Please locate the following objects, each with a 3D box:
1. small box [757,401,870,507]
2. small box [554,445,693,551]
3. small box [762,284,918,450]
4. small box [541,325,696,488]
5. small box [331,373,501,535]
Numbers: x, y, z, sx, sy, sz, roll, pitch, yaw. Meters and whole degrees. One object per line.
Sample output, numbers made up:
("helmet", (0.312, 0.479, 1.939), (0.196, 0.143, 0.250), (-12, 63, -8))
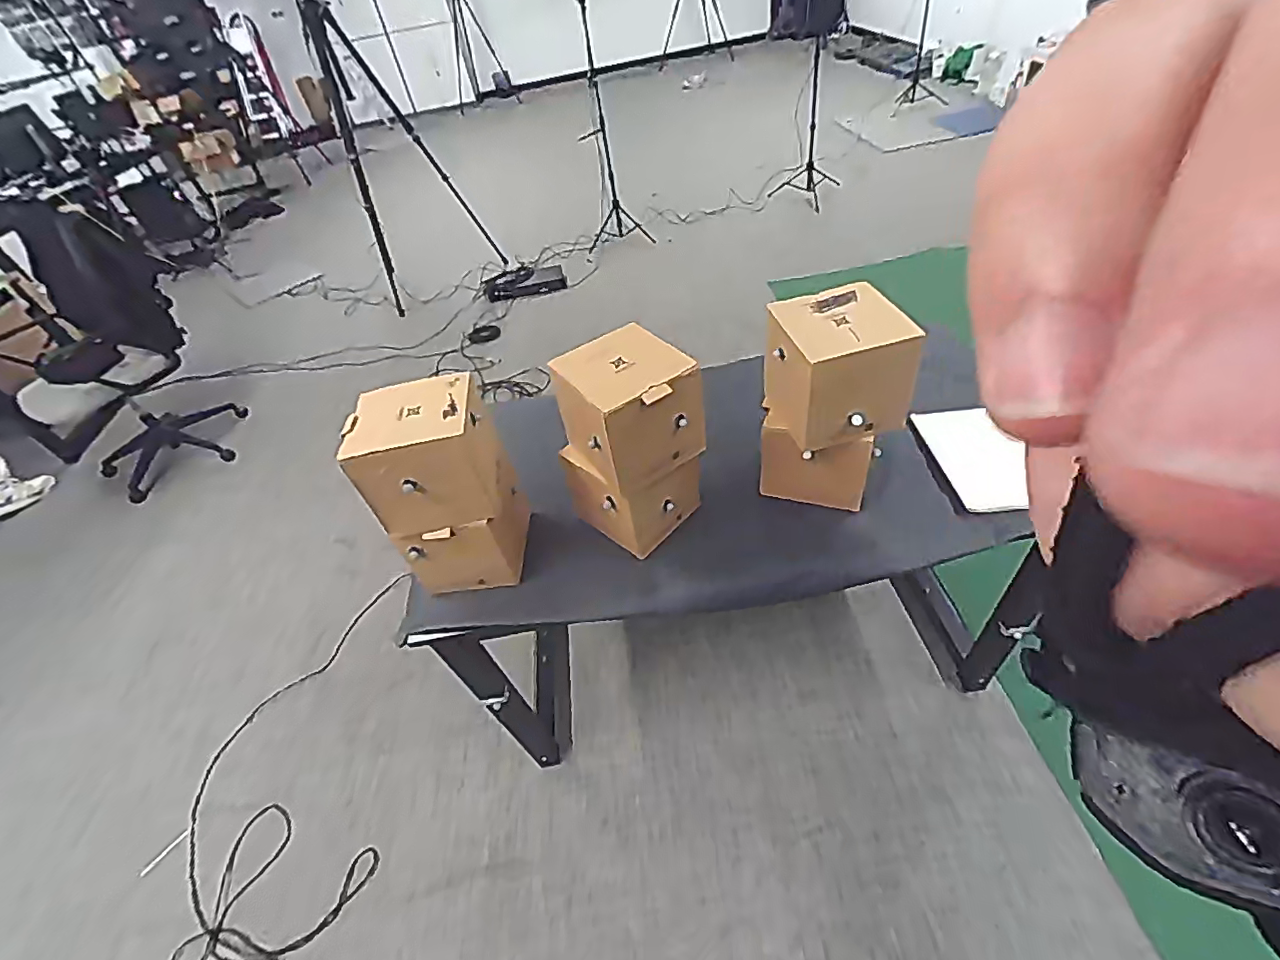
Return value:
("small box", (0.315, -0.071, 0.969), (0.179, 0.176, 0.168), (10, 49, 22))
("small box", (-0.021, 0.001, 0.967), (0.179, 0.176, 0.168), (30, 57, 34))
("small box", (0.295, -0.175, 0.842), (0.168, 0.176, 0.179), (-15, 45, -1))
("small box", (-0.027, -0.110, 0.846), (0.168, 0.176, 0.179), (-30, 47, -19))
("small box", (-0.329, -0.036, 0.833), (0.179, 0.176, 0.168), (-13, 44, -1))
